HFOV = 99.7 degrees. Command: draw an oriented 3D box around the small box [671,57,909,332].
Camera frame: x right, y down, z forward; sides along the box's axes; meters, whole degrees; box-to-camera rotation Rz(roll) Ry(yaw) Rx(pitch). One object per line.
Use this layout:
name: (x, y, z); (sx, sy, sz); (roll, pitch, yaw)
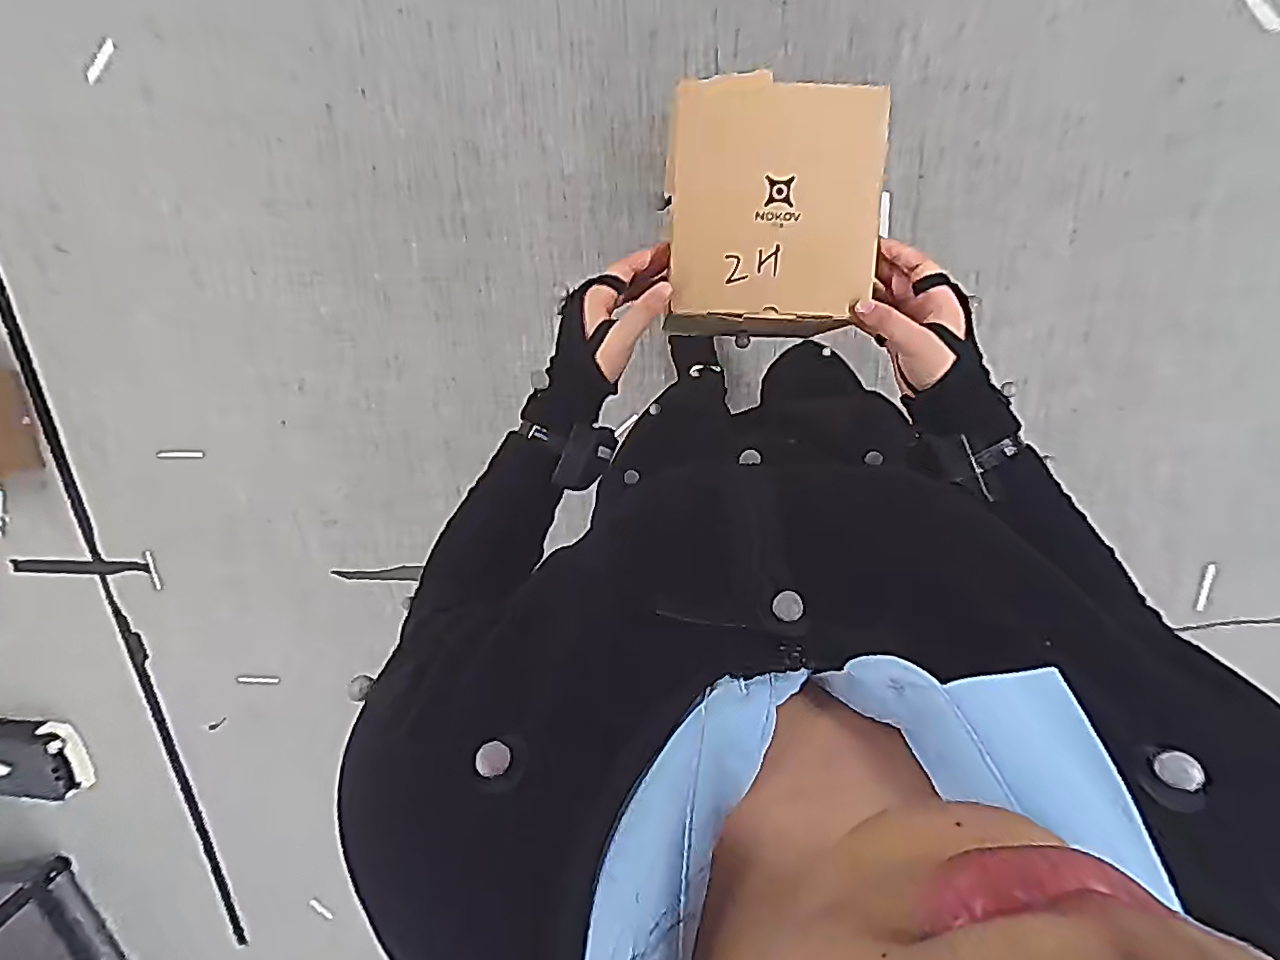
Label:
small box: (0.118, -0.239, 0.497); (0.168, 0.176, 0.179); (2, 99, -1)
